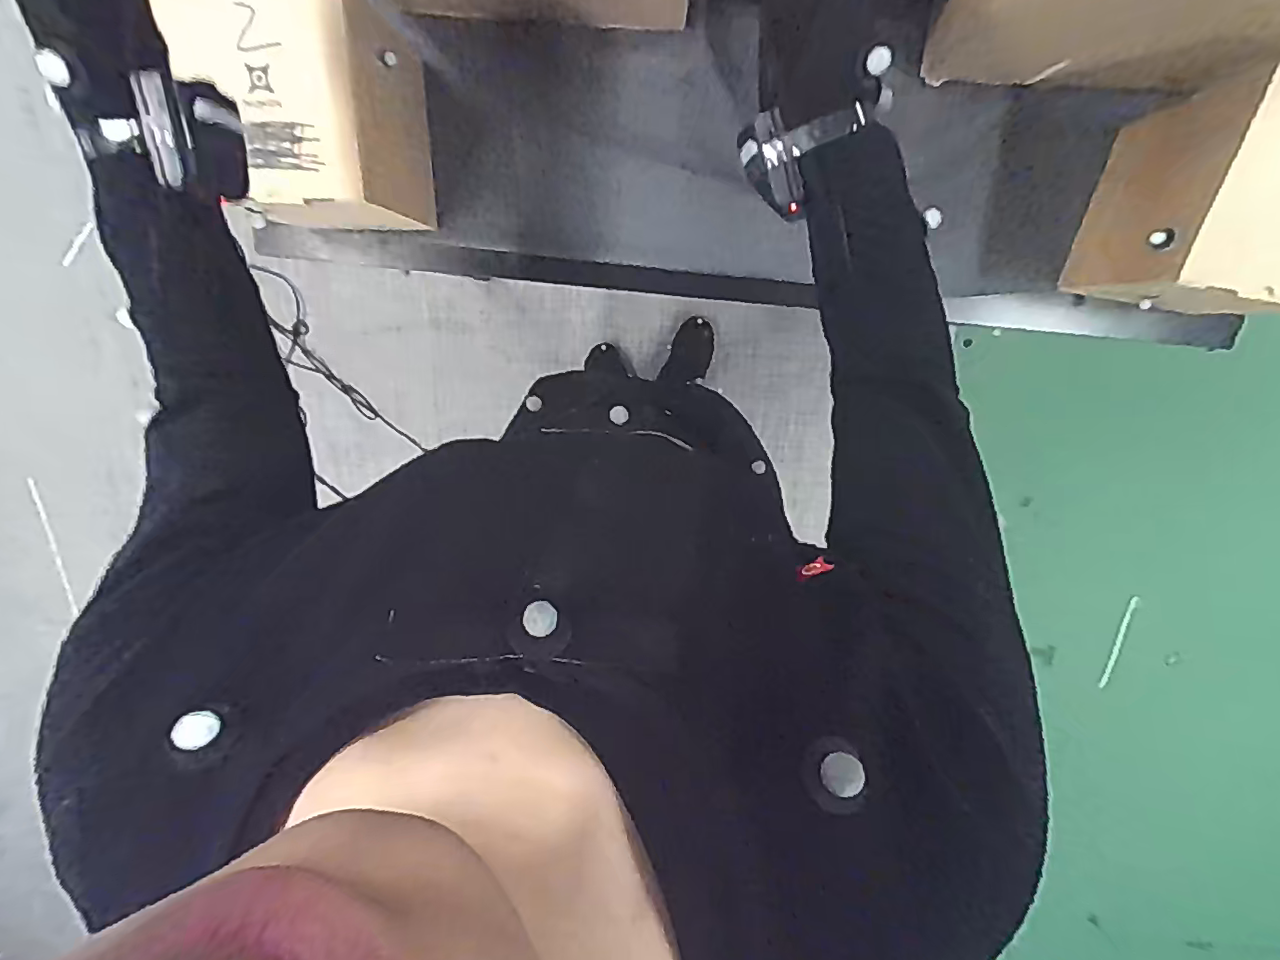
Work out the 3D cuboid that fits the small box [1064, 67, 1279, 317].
[{"bbox_3d":[0.588,-0.271,0.547,0.168,0.176,0.179,11,110,0],"label":"small box"}]
